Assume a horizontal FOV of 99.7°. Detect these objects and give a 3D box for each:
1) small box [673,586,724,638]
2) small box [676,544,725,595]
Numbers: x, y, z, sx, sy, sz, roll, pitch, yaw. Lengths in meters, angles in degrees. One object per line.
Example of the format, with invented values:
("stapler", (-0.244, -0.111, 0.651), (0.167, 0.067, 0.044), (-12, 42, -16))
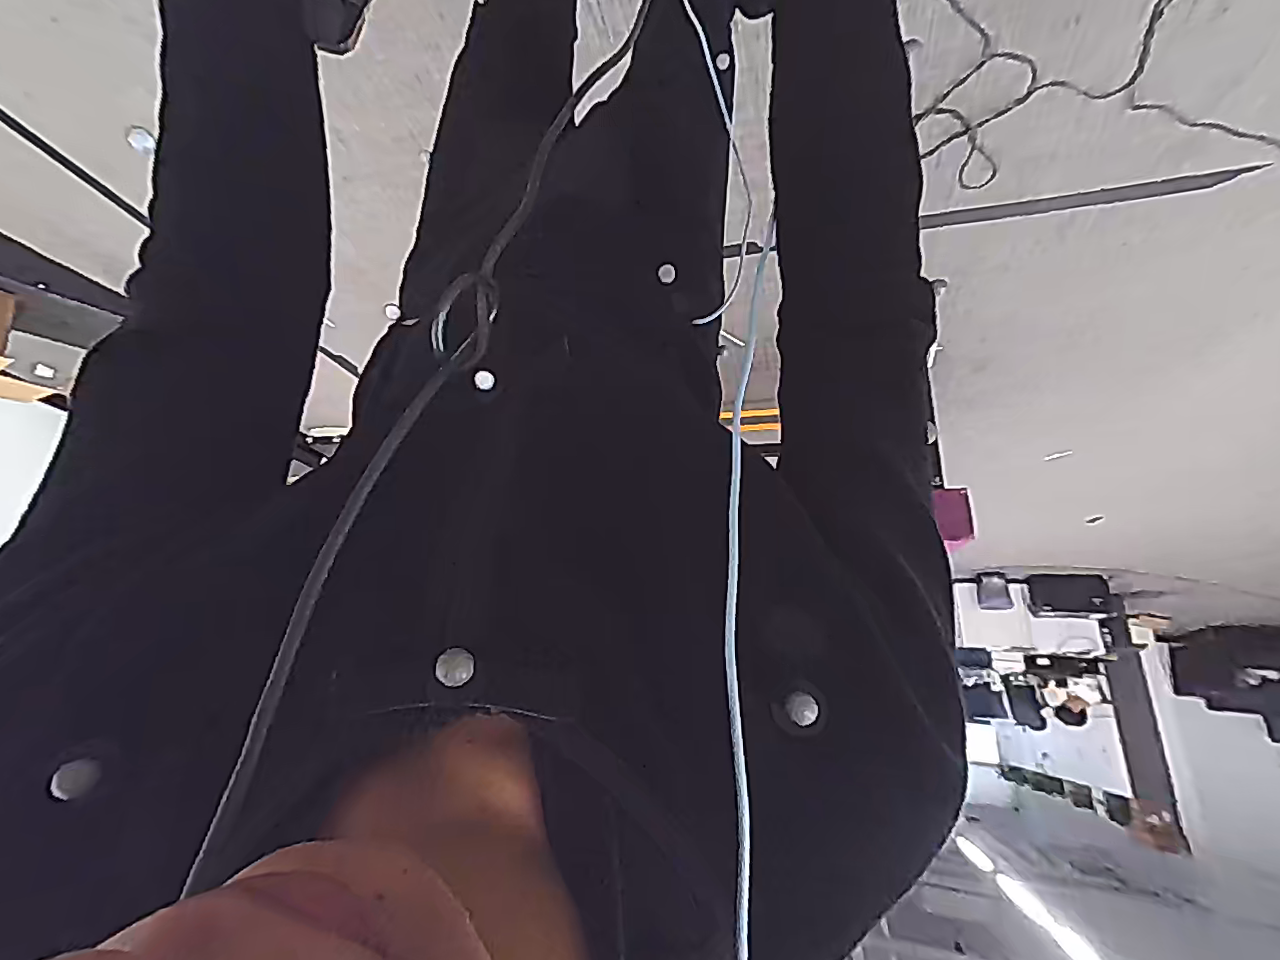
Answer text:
("small box", (0.230, 0.506, 2.070), (0.168, 0.176, 0.179), (-2, 157, 16))
("small box", (0.241, 0.350, 2.121), (0.168, 0.176, 0.179), (-2, 158, 17))
